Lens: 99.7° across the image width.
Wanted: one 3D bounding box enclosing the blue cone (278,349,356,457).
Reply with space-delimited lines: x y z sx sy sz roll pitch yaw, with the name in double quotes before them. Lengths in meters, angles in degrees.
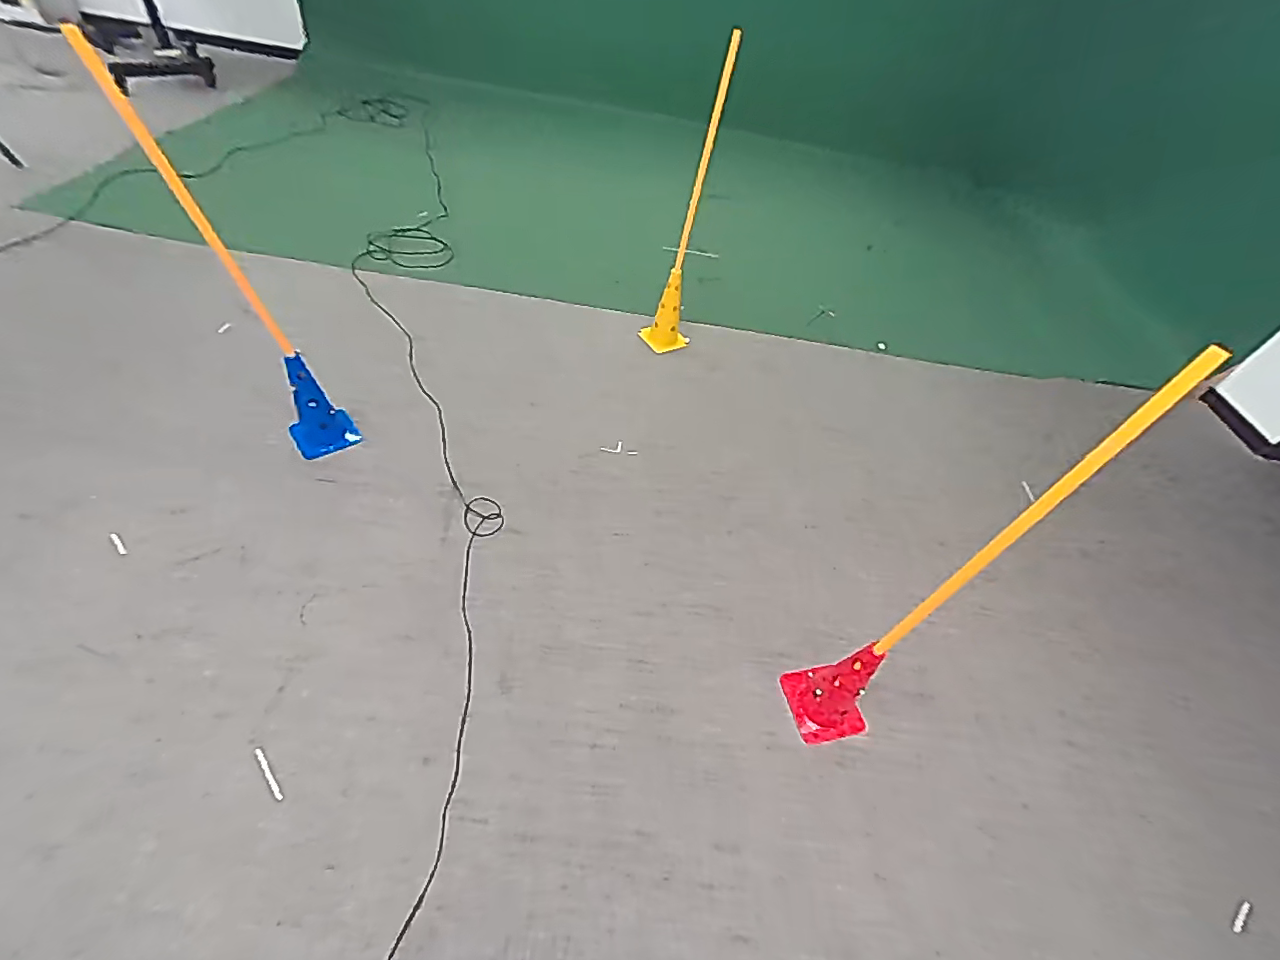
"blue cone" -1.117 -0.269 1.810 0.193 0.380 0.192 -30 61 -28
